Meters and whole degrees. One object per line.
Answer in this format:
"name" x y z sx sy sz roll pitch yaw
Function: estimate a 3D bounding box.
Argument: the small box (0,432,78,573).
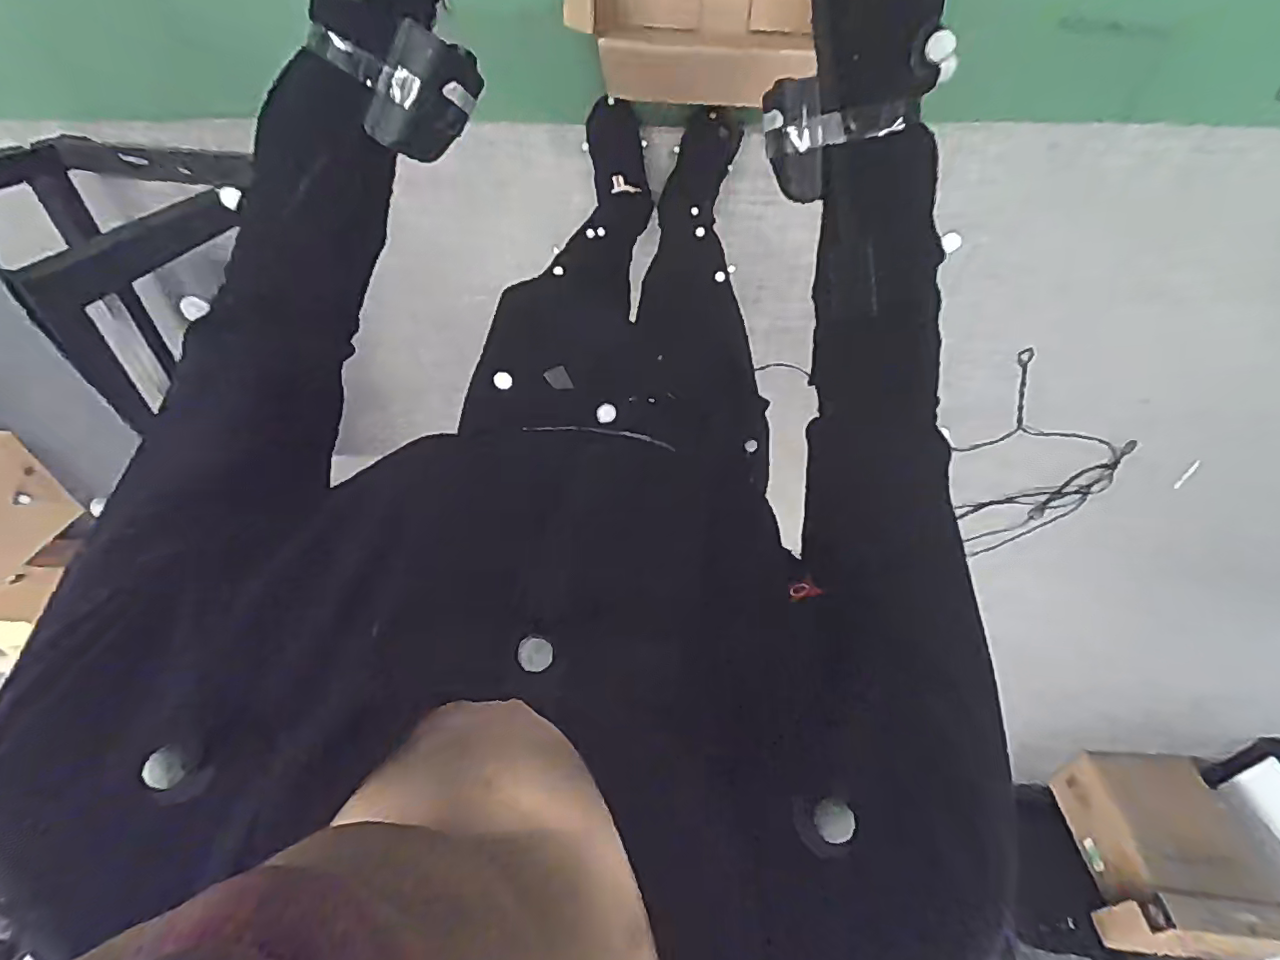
"small box" -0.997 0.038 0.772 0.179 0.176 0.168 3 132 2
